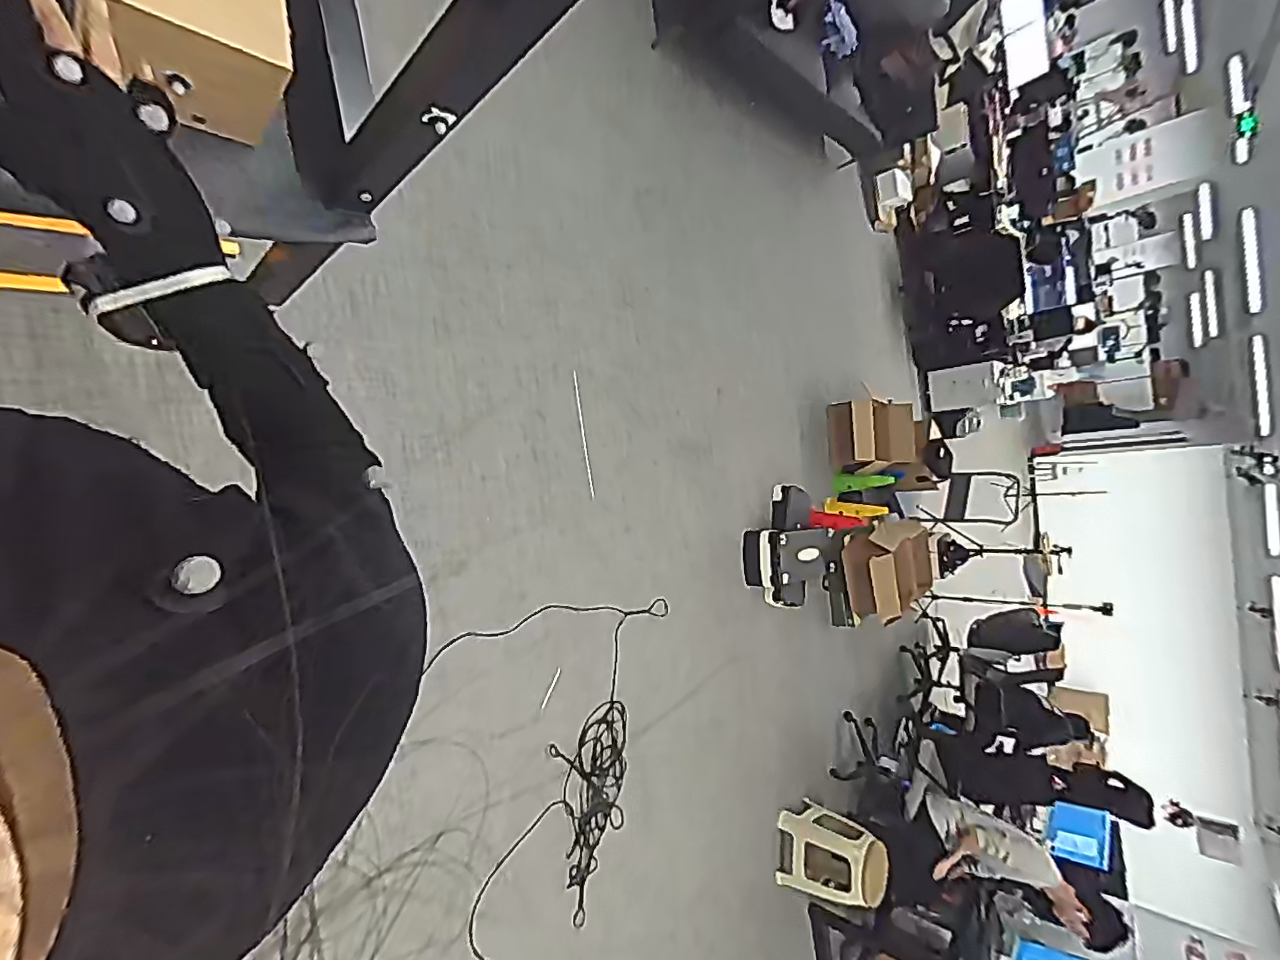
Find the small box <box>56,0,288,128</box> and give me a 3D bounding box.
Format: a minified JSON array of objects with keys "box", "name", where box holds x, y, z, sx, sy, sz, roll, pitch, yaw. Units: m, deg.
[{"box":[-0.499,-0.524,0.576,0.168,0.176,0.179,-7,91,-48],"name":"small box"}]
